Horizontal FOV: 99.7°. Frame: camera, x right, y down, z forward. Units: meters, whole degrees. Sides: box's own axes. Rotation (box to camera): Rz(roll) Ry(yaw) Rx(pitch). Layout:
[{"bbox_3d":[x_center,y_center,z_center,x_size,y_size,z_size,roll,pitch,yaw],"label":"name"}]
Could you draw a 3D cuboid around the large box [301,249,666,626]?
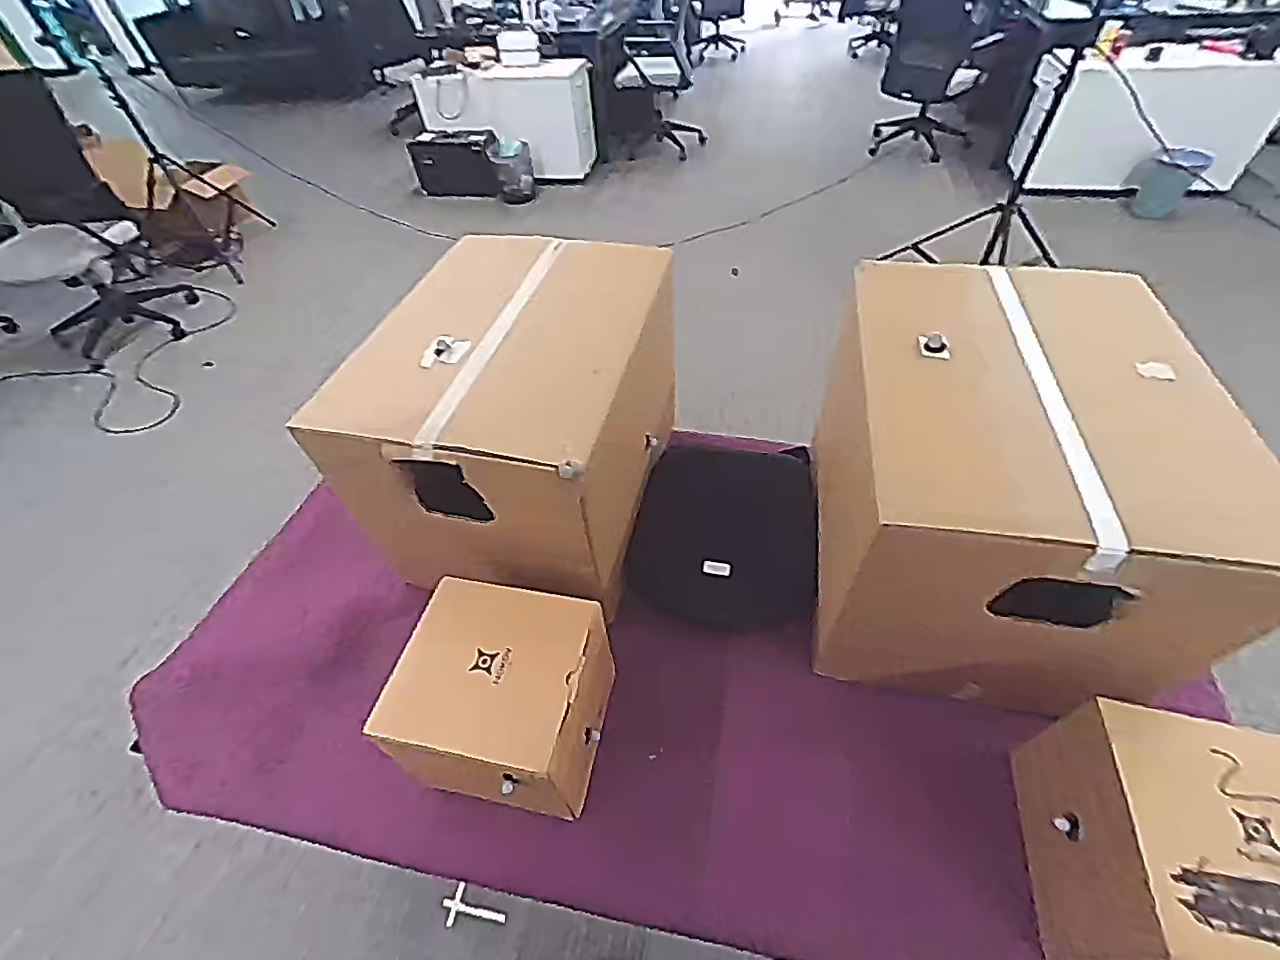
[{"bbox_3d":[-0.147,-0.068,0.751,0.320,0.320,0.408,8,52,12],"label":"large box"}]
